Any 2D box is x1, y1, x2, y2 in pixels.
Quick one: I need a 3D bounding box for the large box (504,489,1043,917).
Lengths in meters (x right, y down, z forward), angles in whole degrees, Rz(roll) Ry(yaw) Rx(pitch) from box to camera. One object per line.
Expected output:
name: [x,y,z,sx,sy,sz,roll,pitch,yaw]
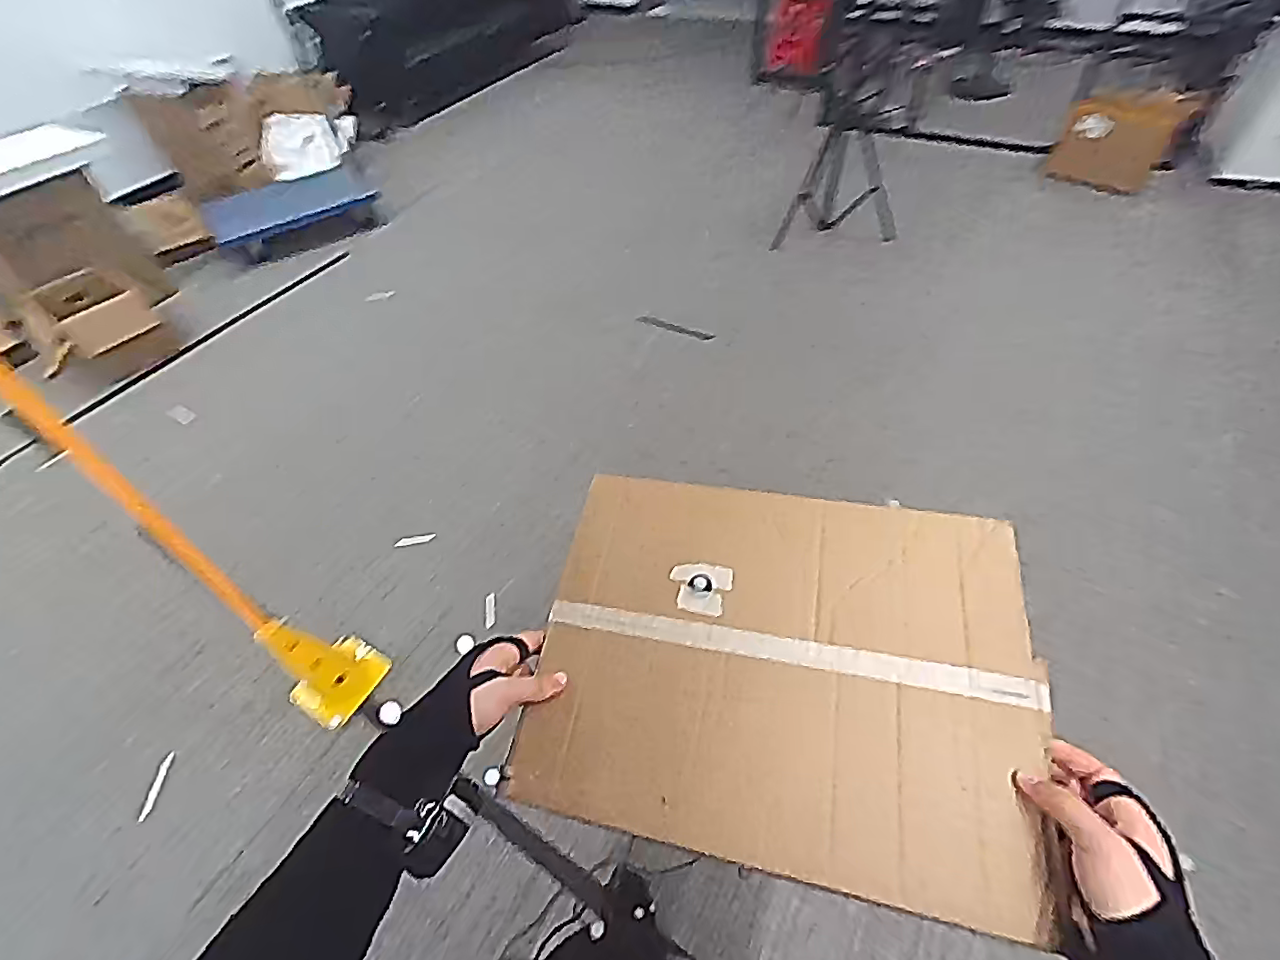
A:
large box: [0.131,0.229,0.602,0.408,0.320,0.320,4,58,15]
